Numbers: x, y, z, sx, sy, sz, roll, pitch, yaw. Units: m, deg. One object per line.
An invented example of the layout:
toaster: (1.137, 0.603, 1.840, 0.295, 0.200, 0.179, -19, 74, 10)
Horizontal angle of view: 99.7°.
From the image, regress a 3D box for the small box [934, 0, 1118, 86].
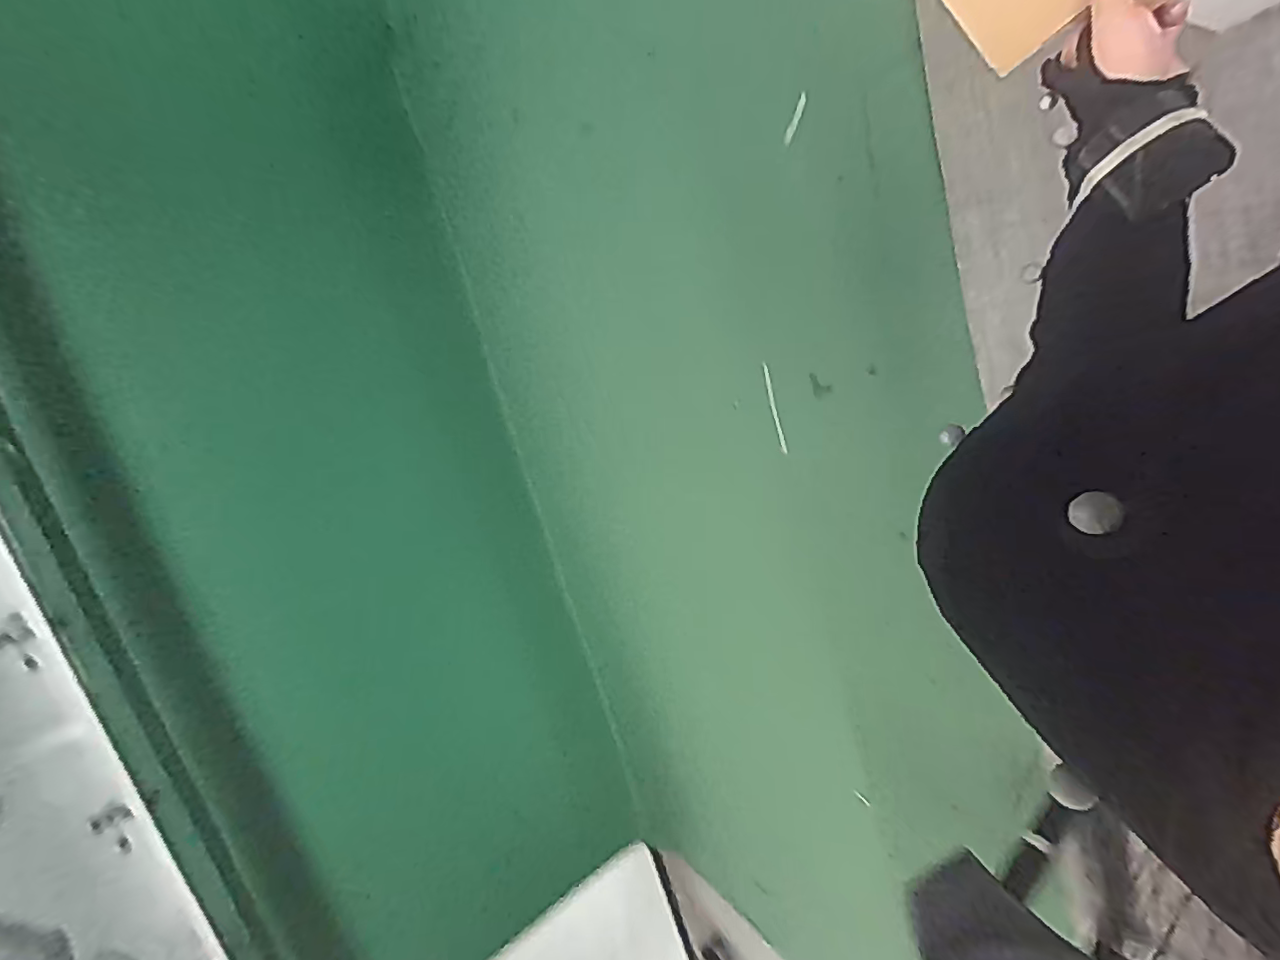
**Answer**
small box: (0.299, -0.436, 0.364, 0.179, 0.176, 0.168, 39, 159, -13)
